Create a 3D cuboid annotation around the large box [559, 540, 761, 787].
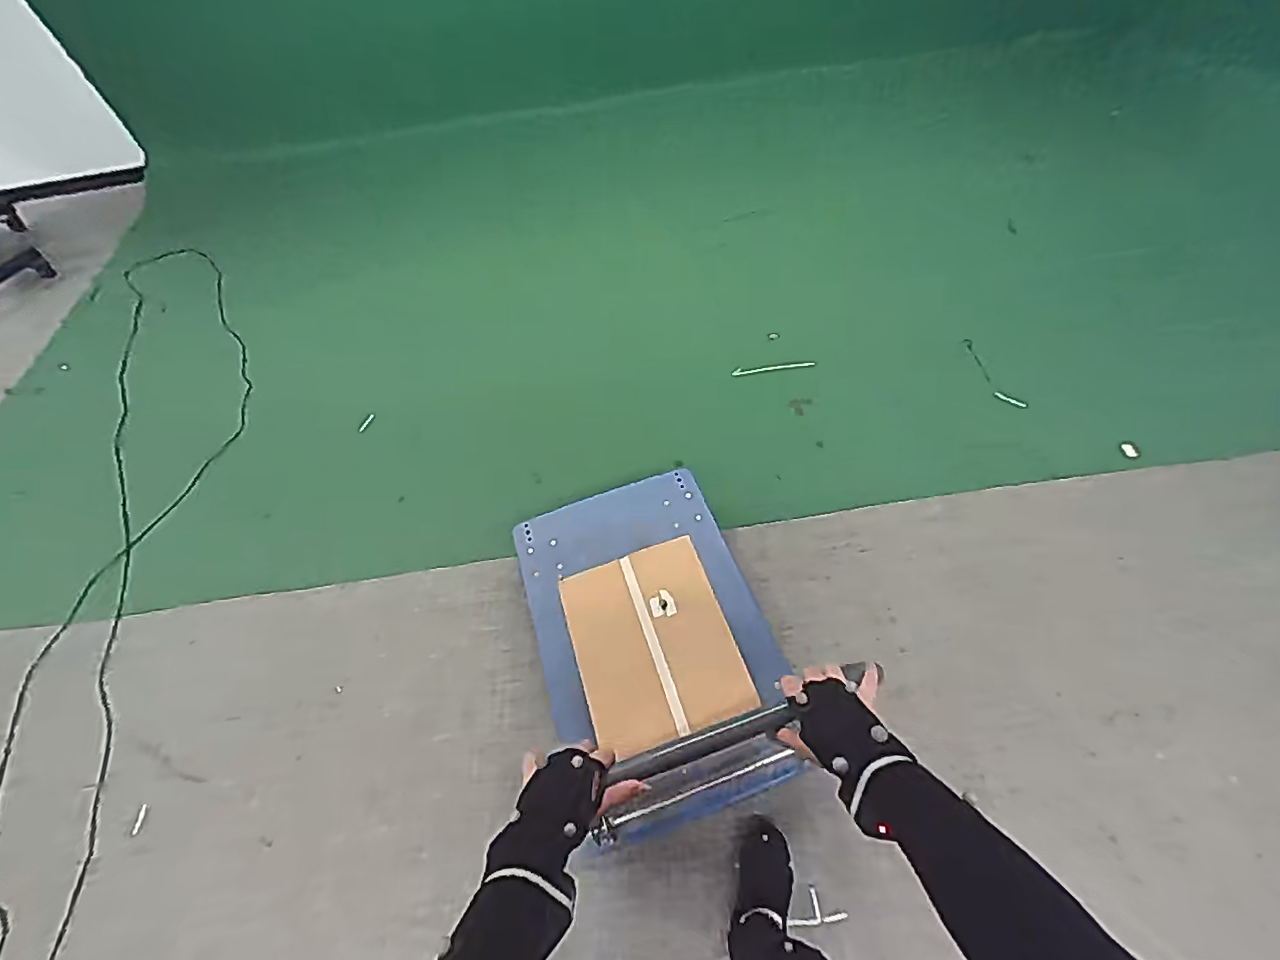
[{"bbox_3d":[0.043,0.419,1.231,0.320,0.320,0.408,-19,55,-5],"label":"large box"}]
